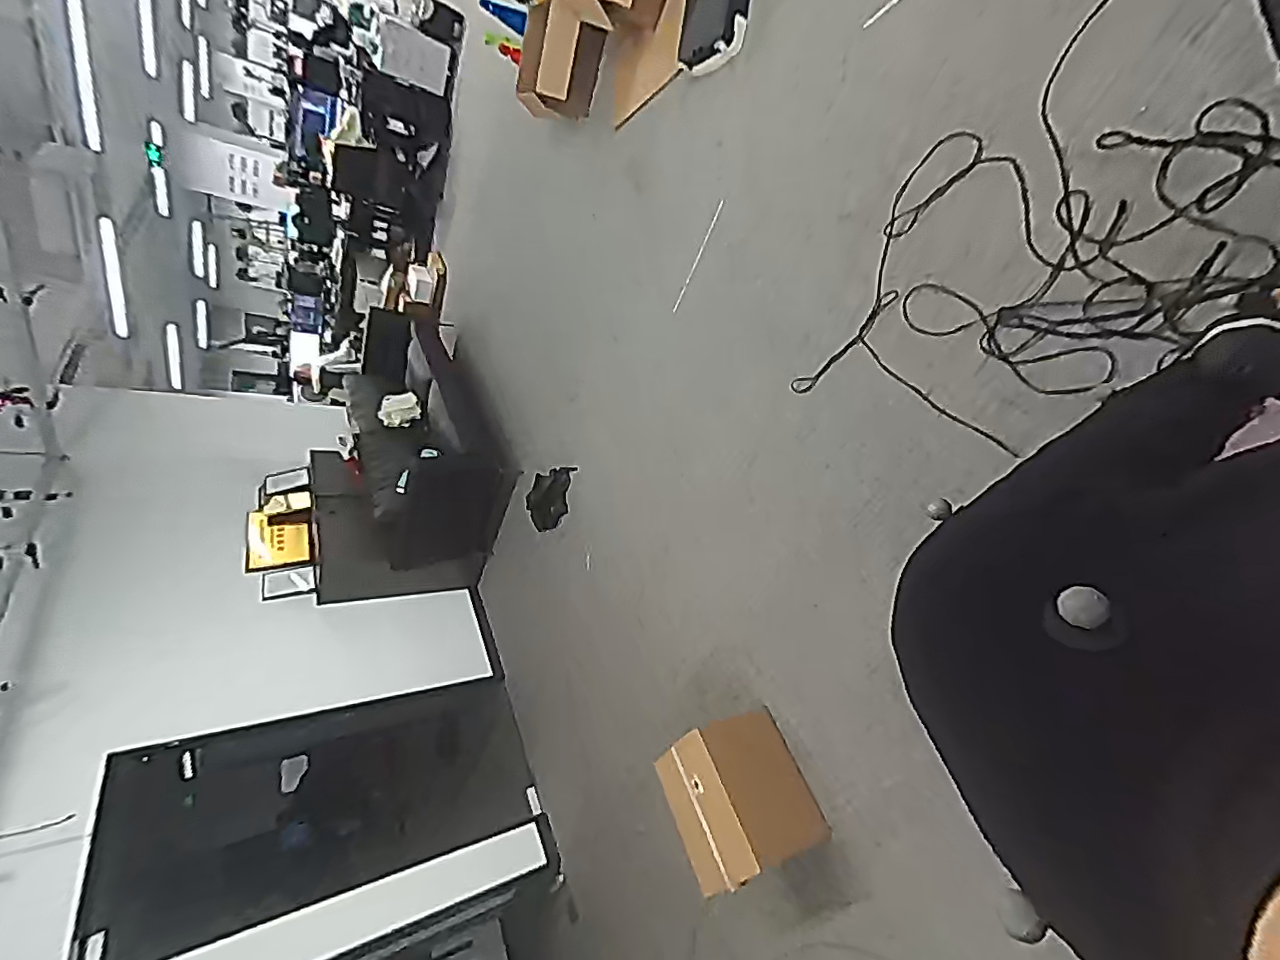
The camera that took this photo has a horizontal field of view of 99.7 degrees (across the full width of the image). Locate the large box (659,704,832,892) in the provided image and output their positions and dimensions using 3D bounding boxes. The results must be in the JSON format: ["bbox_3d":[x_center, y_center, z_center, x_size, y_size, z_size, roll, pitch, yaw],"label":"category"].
[{"bbox_3d":[0.323,1.002,1.738,0.320,0.320,0.408,-58,44,36],"label":"large box"}]
